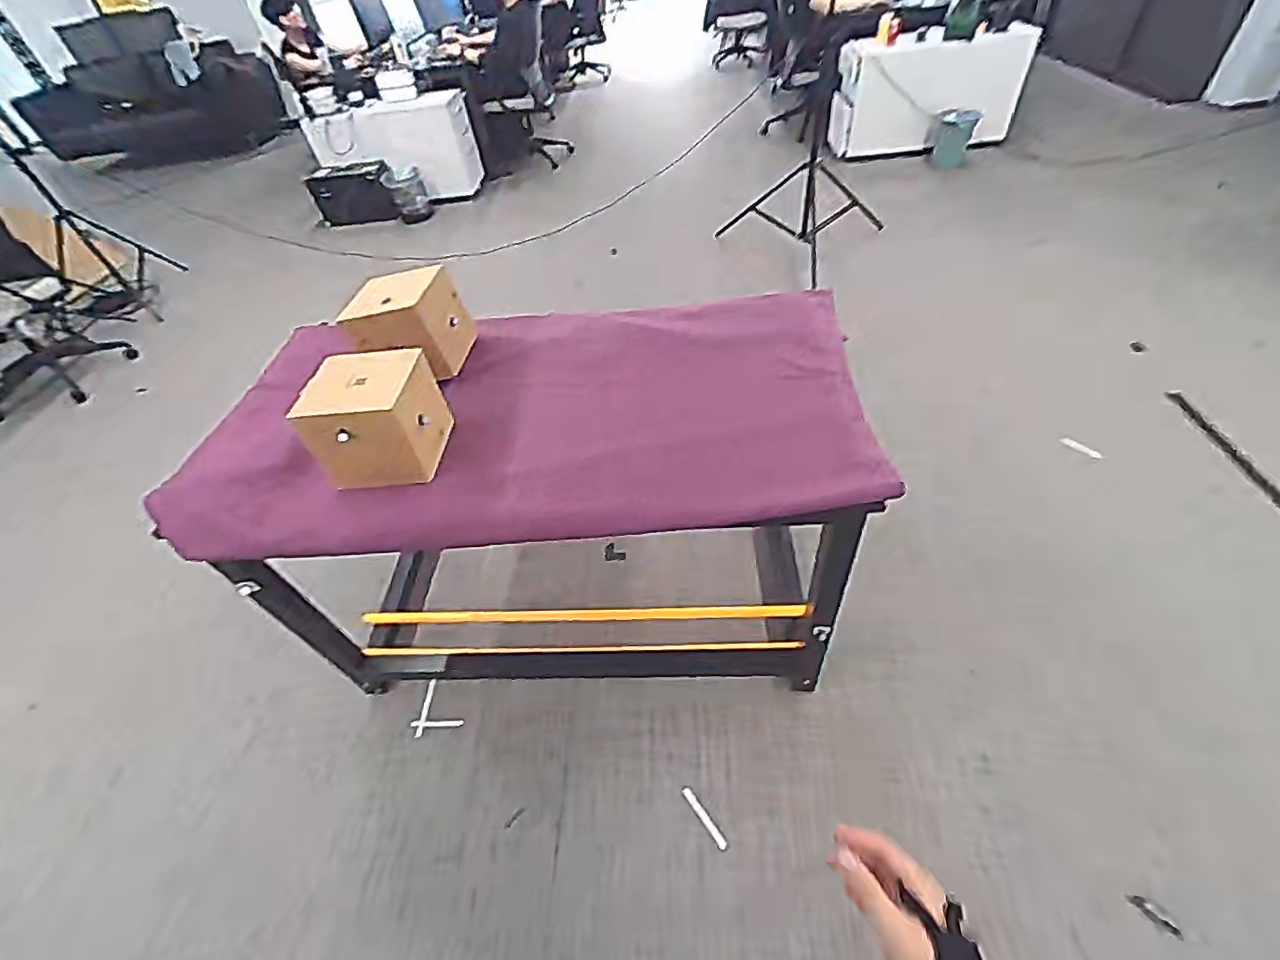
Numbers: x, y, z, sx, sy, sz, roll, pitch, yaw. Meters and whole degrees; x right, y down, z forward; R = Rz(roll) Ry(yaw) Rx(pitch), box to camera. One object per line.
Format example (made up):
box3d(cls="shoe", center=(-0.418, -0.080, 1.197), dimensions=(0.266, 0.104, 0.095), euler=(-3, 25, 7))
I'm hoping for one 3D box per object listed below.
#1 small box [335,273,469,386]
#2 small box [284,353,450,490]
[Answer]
box3d(cls="small box", center=(-0.473, -0.306, 1.115), dimensions=(0.179, 0.168, 0.176), euler=(-6, 45, 13))
box3d(cls="small box", center=(-0.453, -0.098, 0.935), dimensions=(0.179, 0.176, 0.168), euler=(-4, 46, 4))
